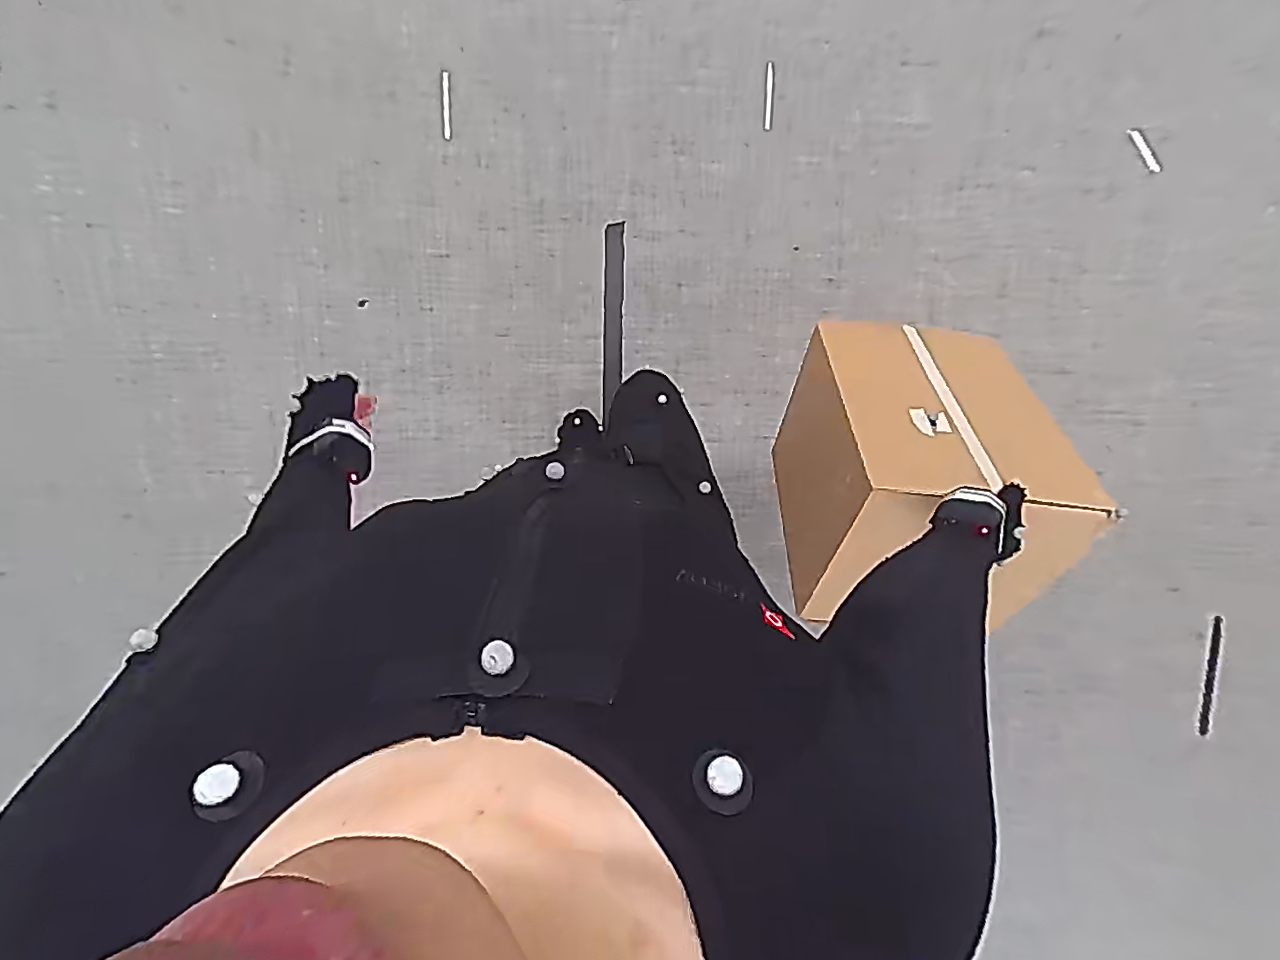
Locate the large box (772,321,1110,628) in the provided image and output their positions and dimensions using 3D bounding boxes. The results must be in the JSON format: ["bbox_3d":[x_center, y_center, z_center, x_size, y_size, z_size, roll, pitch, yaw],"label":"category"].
[{"bbox_3d":[0.437,-0.014,0.917,0.320,0.408,0.320,6,137,-2],"label":"large box"}]
